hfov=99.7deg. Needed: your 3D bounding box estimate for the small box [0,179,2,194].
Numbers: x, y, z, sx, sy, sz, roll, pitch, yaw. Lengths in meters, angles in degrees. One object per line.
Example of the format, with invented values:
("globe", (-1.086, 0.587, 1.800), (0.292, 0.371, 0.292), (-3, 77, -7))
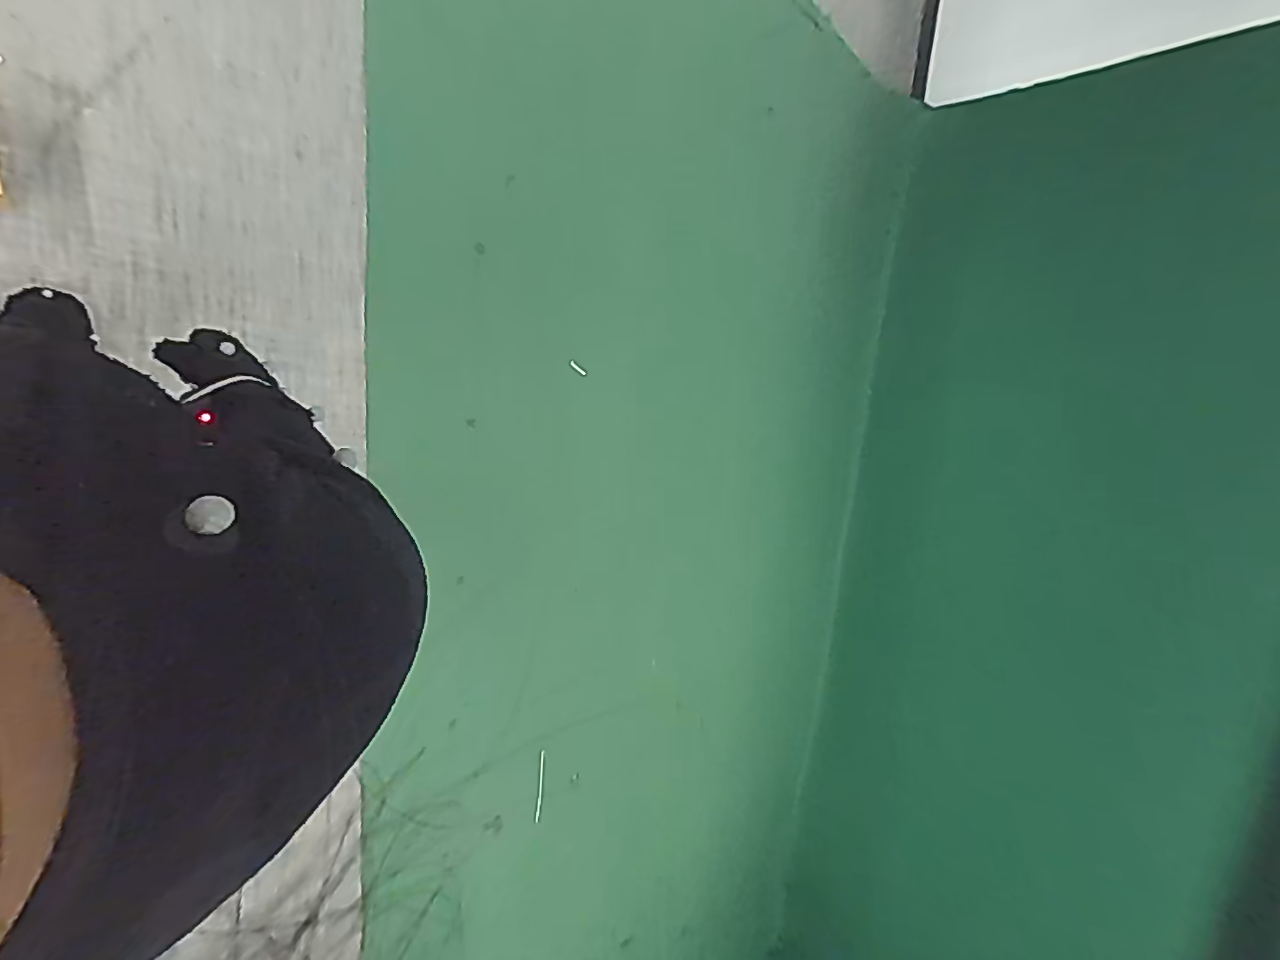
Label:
("small box", (-1.086, -0.533, 0.796), (0.168, 0.176, 0.179), (-13, 111, -45))
